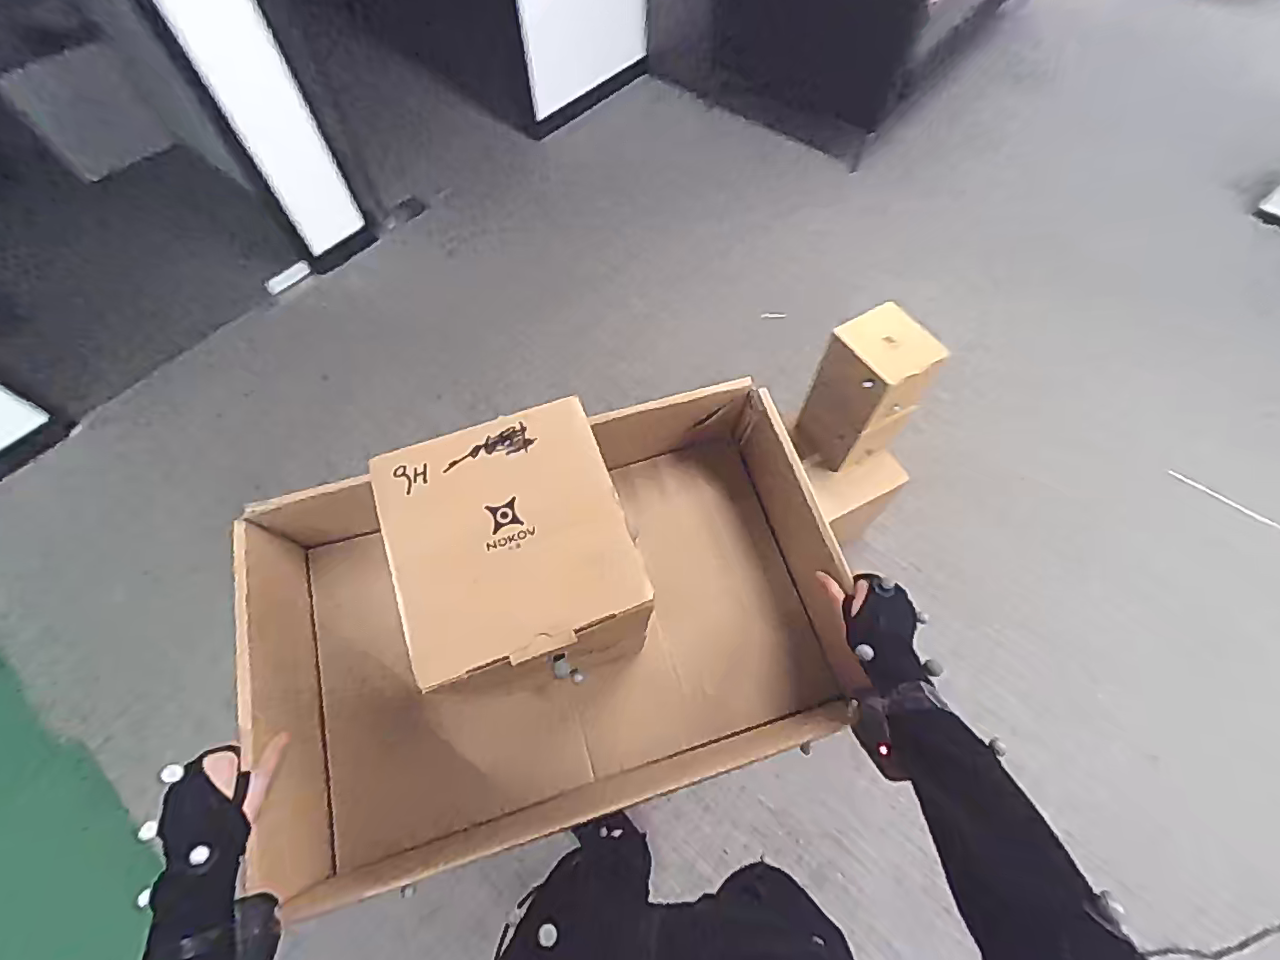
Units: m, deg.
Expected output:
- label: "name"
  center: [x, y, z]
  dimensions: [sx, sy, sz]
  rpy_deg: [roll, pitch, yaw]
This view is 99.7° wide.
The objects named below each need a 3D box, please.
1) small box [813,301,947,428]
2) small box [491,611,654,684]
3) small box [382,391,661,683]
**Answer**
- label: "small box"
  center: [0.507, -0.247, 1.176]
  dimensions: [0.168, 0.176, 0.179]
  rpy_deg: [-28, 65, -15]
- label: "small box"
  center: [-0.091, 0.118, 0.611]
  dimensions: [0.168, 0.176, 0.179]
  rpy_deg: [-16, 70, -8]
- label: "small box"
  center: [-0.090, 0.058, 0.458]
  dimensions: [0.168, 0.176, 0.179]
  rpy_deg: [-18, 70, -9]
